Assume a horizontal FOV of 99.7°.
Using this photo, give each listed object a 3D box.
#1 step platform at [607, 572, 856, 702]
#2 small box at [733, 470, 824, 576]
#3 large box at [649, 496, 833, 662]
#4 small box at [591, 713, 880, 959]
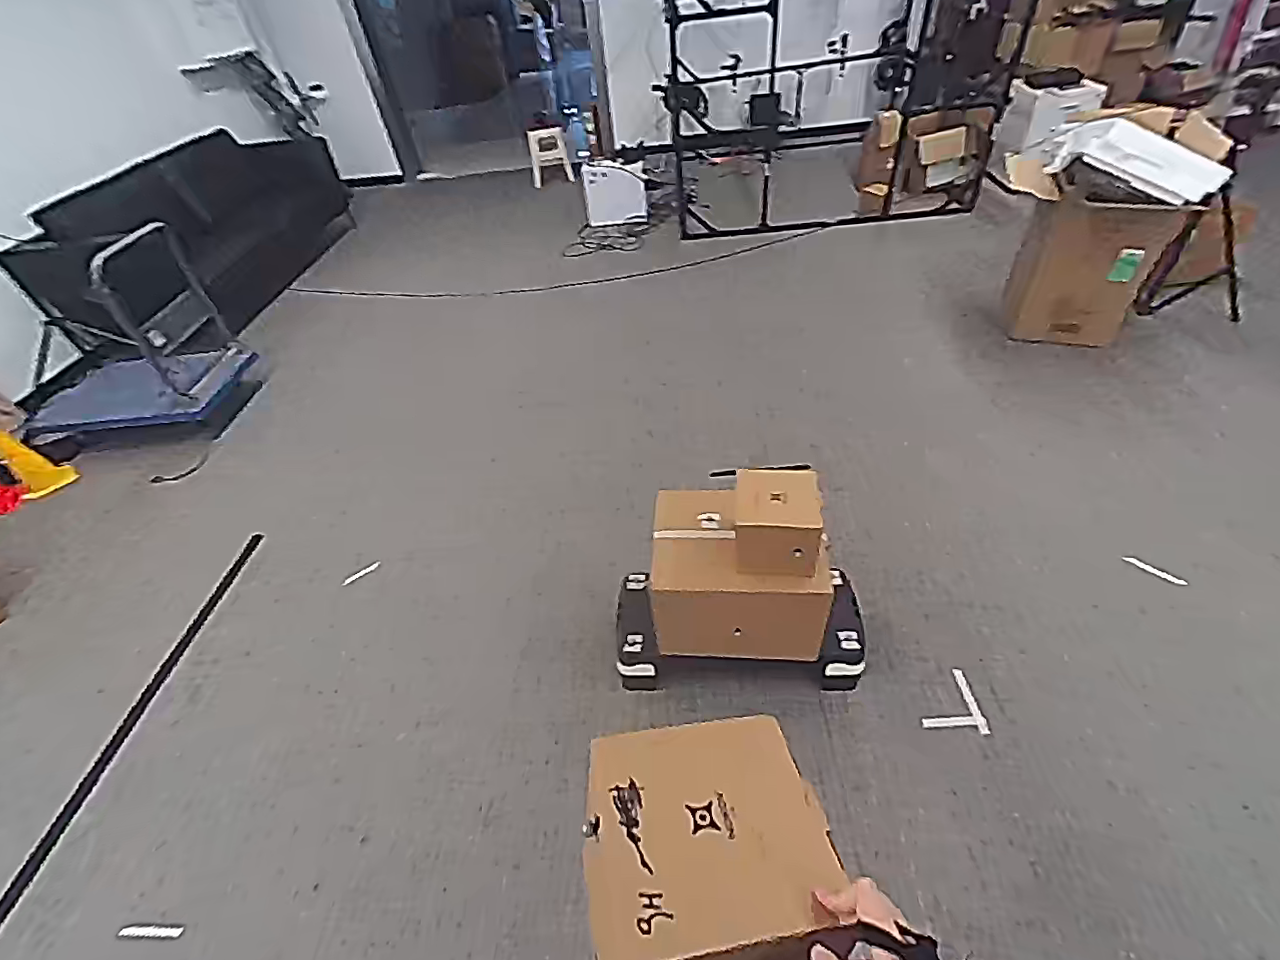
[{"bbox_3d":[0.250,0.434,1.544,0.684,0.204,0.286,0,44,10],"label":"step platform"},{"bbox_3d":[0.296,0.096,1.186,0.179,0.176,0.168,1,45,11],"label":"small box"},{"bbox_3d":[0.245,0.254,1.385,0.408,0.320,0.320,-2,43,8],"label":"large box"},{"bbox_3d":[0.057,0.325,0.452,0.179,0.176,0.168,0,28,-12],"label":"small box"}]
